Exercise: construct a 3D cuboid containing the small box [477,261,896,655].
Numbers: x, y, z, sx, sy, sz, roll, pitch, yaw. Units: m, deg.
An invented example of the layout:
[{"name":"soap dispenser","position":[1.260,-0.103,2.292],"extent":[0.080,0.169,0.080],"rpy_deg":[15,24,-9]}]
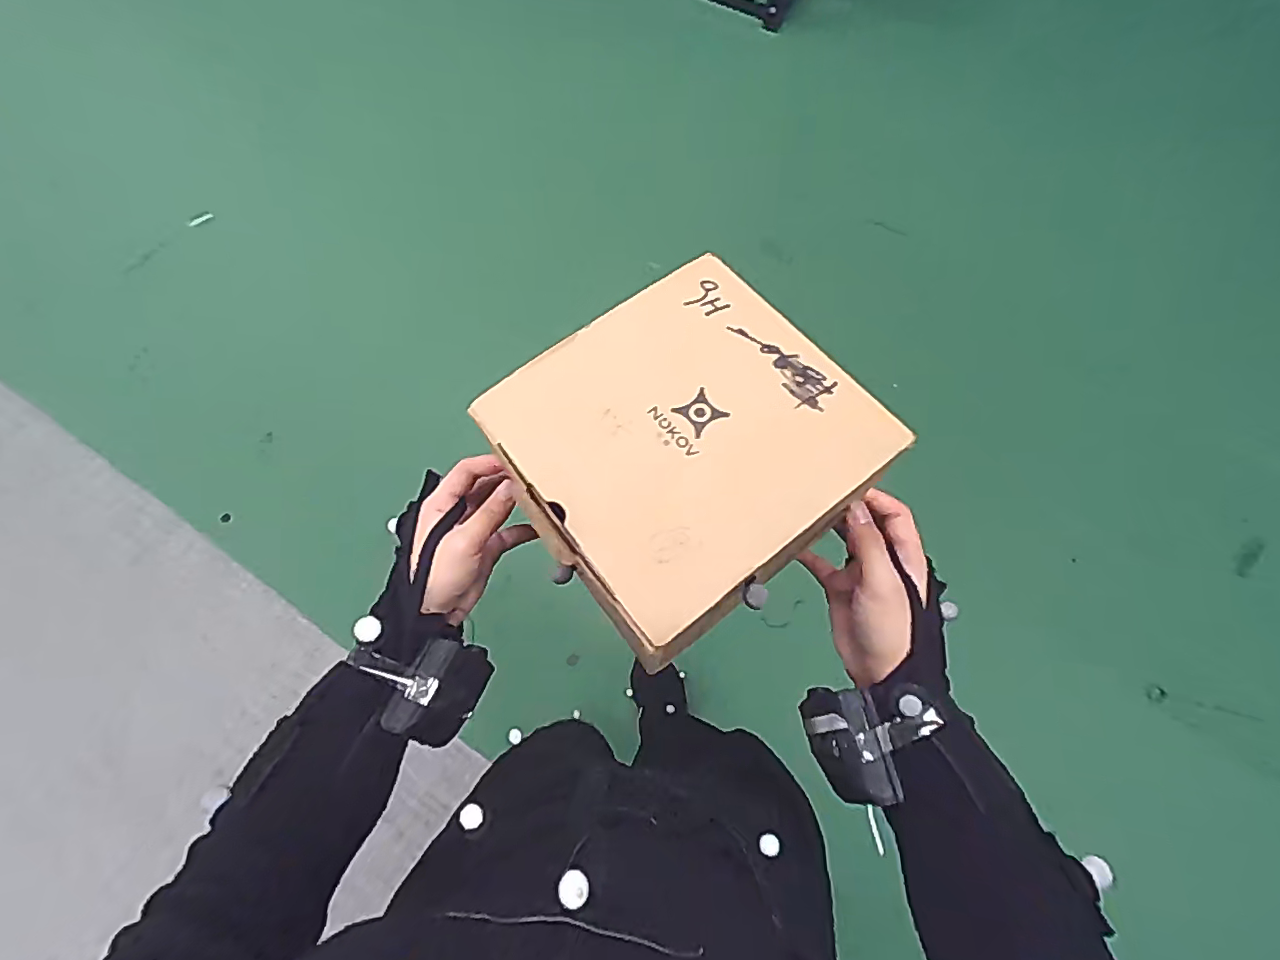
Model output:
[{"name":"small box","position":[0.026,0.000,0.370],"extent":[0.179,0.176,0.168],"rpy_deg":[-36,71,-13]}]
